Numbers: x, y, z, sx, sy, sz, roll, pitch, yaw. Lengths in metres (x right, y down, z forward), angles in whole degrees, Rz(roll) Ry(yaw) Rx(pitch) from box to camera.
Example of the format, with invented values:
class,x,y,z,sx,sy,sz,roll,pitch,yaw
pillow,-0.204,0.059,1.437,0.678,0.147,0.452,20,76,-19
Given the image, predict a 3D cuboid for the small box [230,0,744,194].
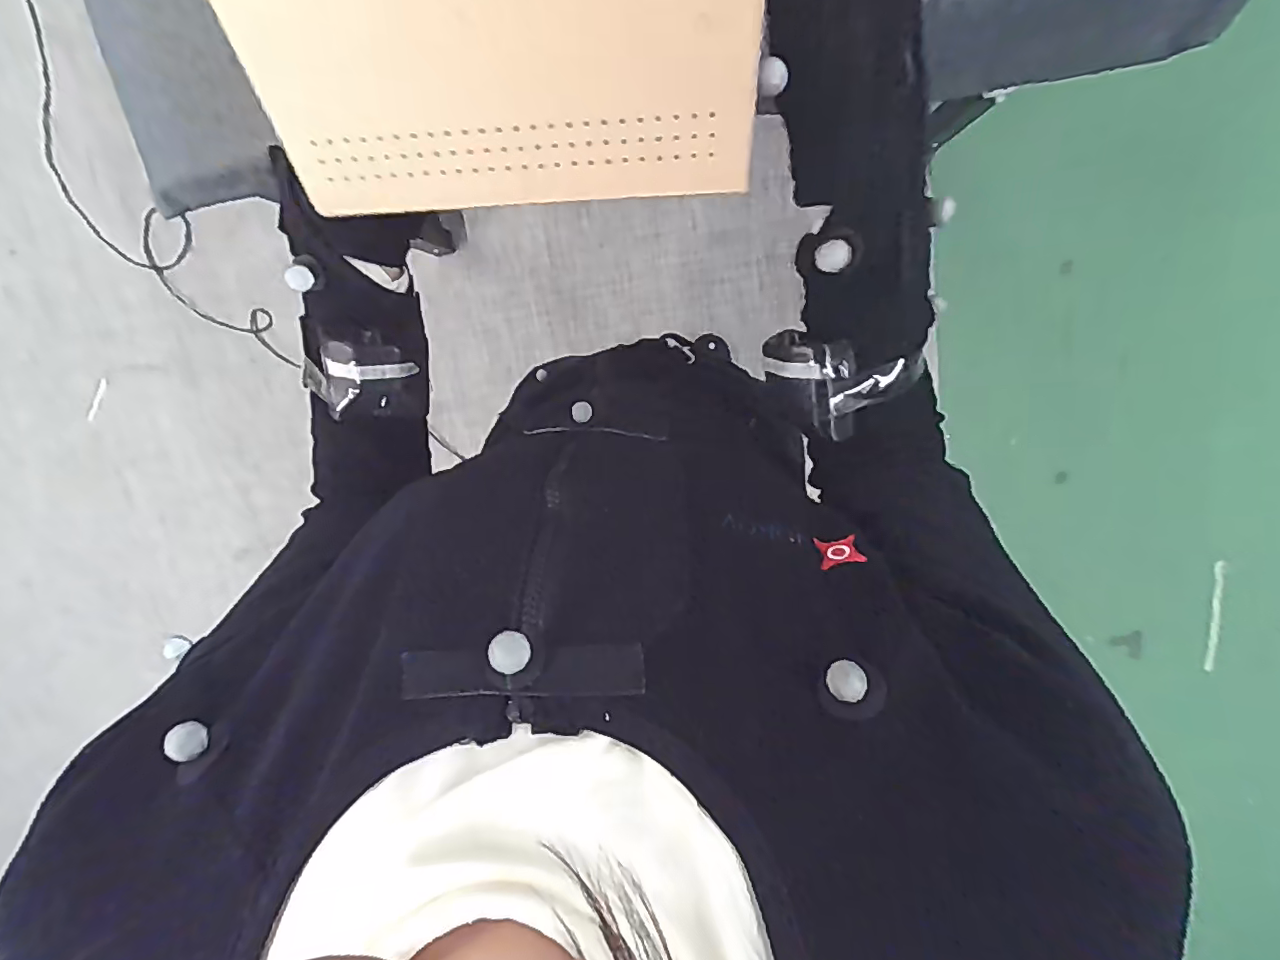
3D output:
class,x,y,z,sx,sy,sz,roll,pitch,yaw
small box,-0.050,-0.231,0.210,0.179,0.168,0.176,-2,139,3
